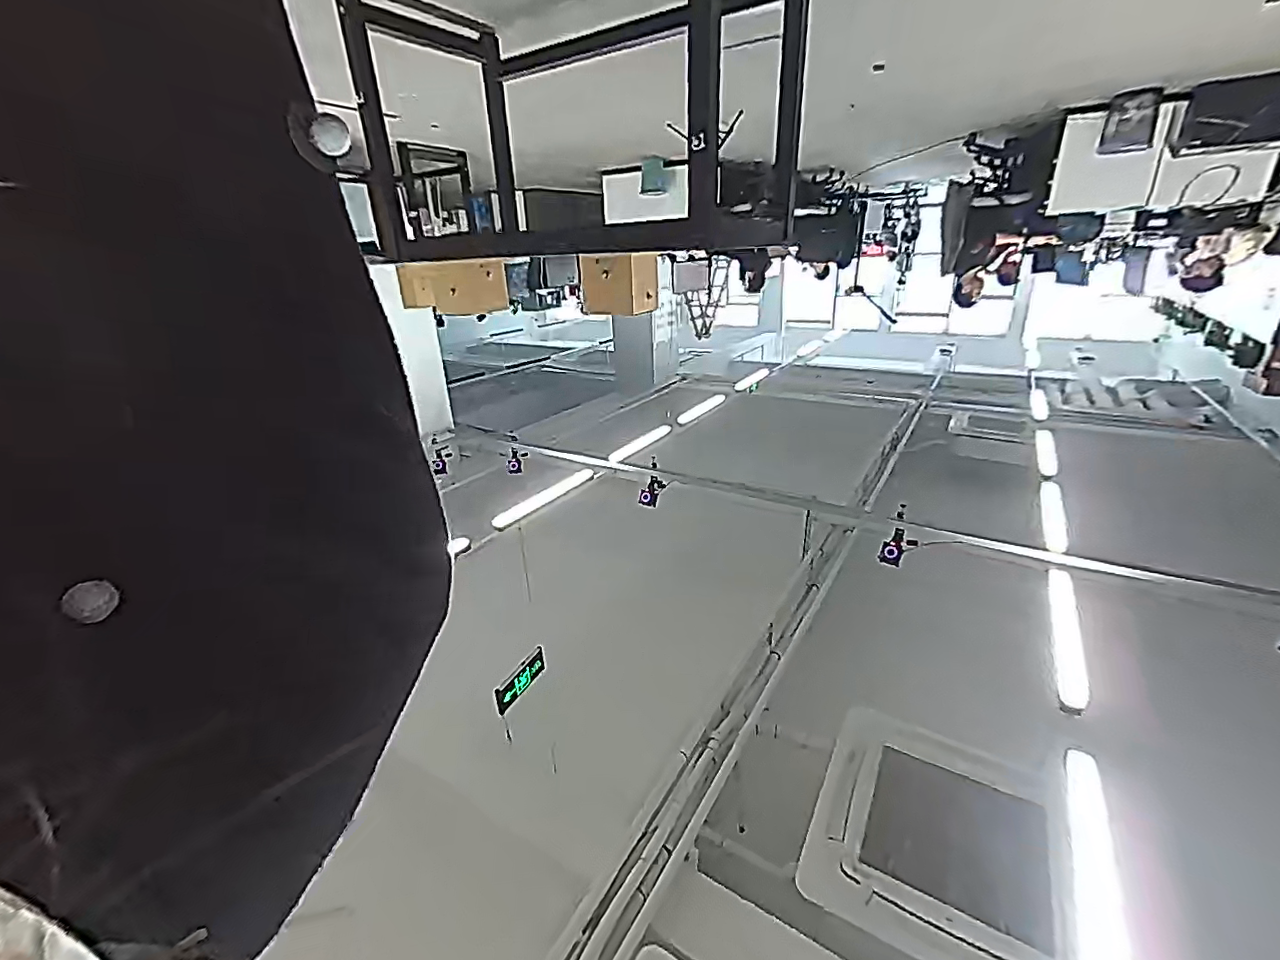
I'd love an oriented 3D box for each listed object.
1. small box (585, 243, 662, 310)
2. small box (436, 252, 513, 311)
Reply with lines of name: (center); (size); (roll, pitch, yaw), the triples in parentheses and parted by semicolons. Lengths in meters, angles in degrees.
small box: (-0.043, -0.595, 1.572); (0.168, 0.176, 0.179); (8, -154, 26)
small box: (-0.545, -0.652, 1.772); (0.179, 0.176, 0.168); (9, -153, 29)
